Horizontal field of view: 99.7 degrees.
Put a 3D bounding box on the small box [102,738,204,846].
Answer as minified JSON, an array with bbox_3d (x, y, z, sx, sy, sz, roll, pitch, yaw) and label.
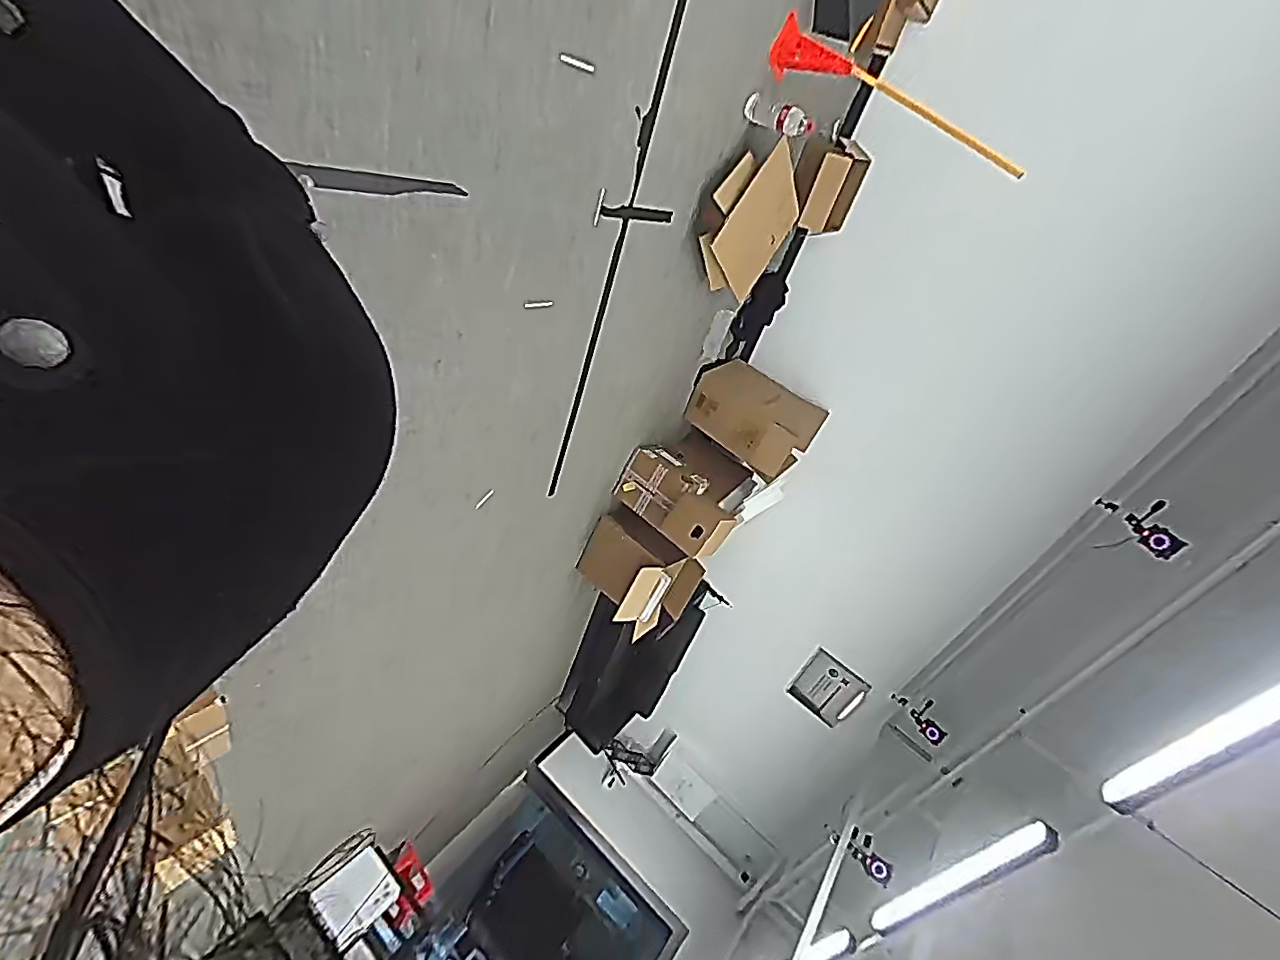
[{"bbox_3d":[-1.378,0.884,1.546,0.179,0.176,0.168,-28,146,-46],"label":"small box"}]

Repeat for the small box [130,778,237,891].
[{"bbox_3d":[-1.250,0.965,1.485,0.168,0.176,0.179,-29,146,-48],"label":"small box"}]
